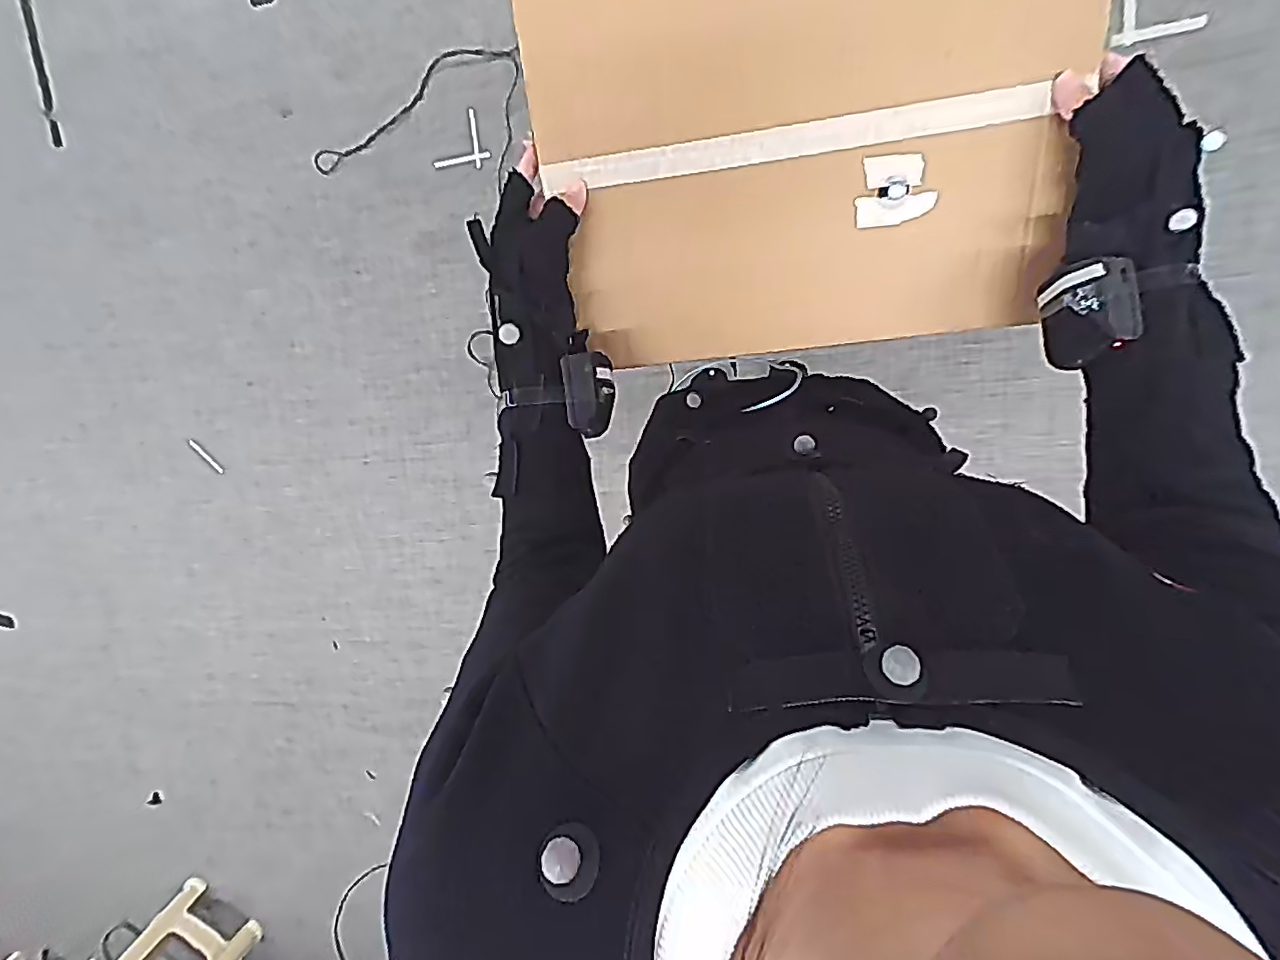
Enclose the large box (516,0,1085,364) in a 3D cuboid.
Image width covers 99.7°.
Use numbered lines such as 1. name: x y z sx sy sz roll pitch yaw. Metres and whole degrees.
1. large box: 0.129 -0.322 0.557 0.408 0.320 0.320 -6 112 6
